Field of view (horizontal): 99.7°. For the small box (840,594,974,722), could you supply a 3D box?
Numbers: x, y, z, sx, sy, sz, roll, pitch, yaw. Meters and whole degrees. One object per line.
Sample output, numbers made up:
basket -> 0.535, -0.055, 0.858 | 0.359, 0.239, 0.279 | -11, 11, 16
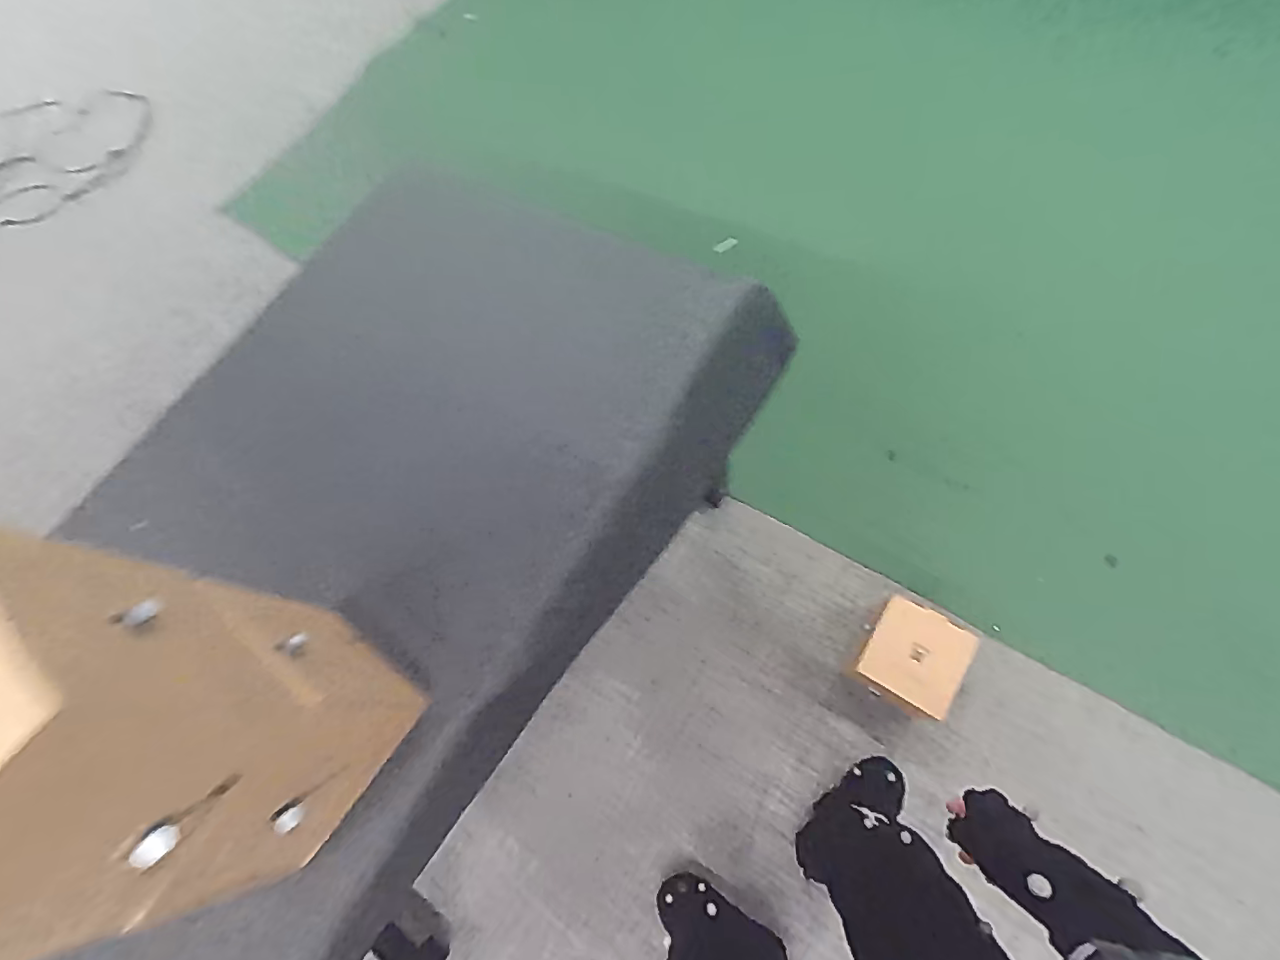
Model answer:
small box -> 0.527, 0.359, 1.093 | 0.168, 0.176, 0.179 | 31, 77, 19
